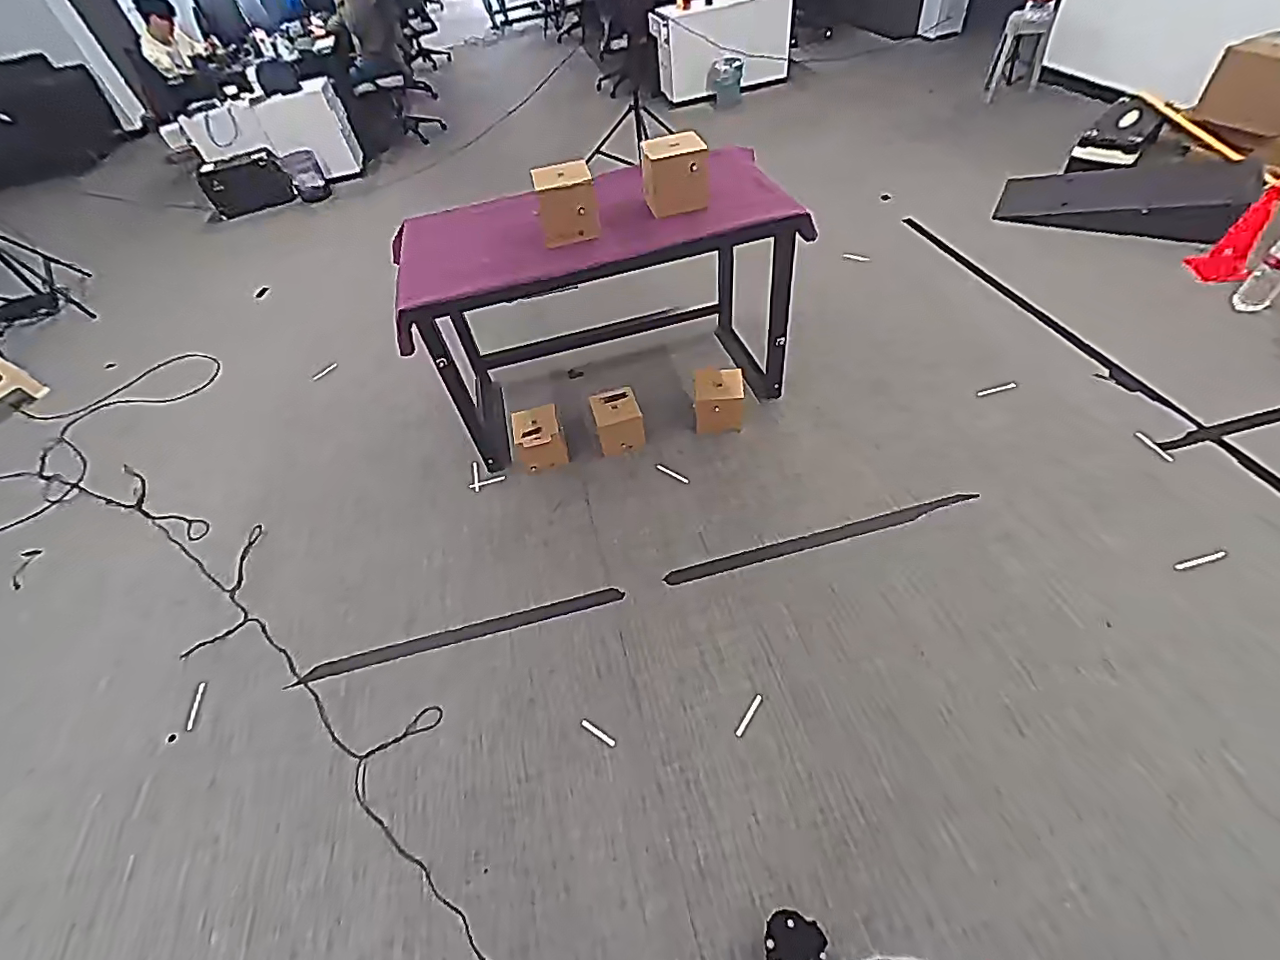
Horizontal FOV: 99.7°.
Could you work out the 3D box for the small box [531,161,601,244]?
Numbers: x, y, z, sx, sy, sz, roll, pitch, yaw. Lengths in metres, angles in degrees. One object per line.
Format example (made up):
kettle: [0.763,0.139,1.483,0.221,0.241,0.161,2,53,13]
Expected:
small box: [-0.219,-0.826,1.623,0.168,0.176,0.179,-13,47,-4]

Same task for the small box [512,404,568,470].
small box: [-0.374,-0.155,2.040,0.168,0.176,0.179,-14,48,-3]

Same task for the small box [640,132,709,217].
small box: [0.109,-0.937,1.663,0.179,0.176,0.168,-14,49,-2]

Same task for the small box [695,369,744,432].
small box: [0.301,-0.300,2.059,0.179,0.176,0.168,-3,51,8]
